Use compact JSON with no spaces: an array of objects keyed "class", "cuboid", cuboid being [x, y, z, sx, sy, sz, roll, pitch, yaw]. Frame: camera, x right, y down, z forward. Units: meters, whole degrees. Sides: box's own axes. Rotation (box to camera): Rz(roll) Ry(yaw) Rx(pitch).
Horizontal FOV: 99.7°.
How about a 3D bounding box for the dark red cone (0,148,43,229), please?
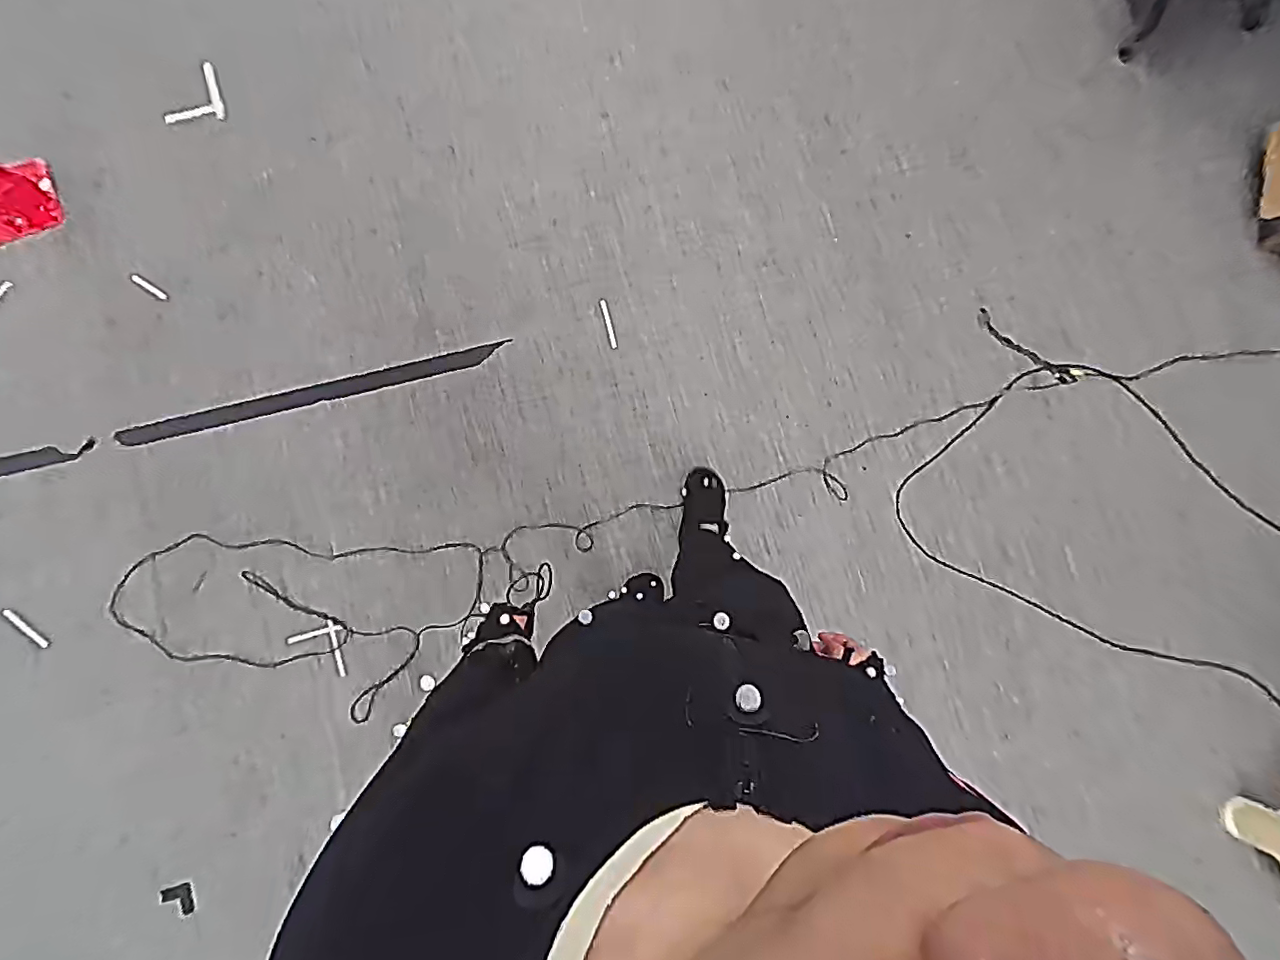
[{"class":"dark red cone","cuboid":[-1.647,-0.756,1.227,0.202,0.394,0.201,-22,86,-4]}]
